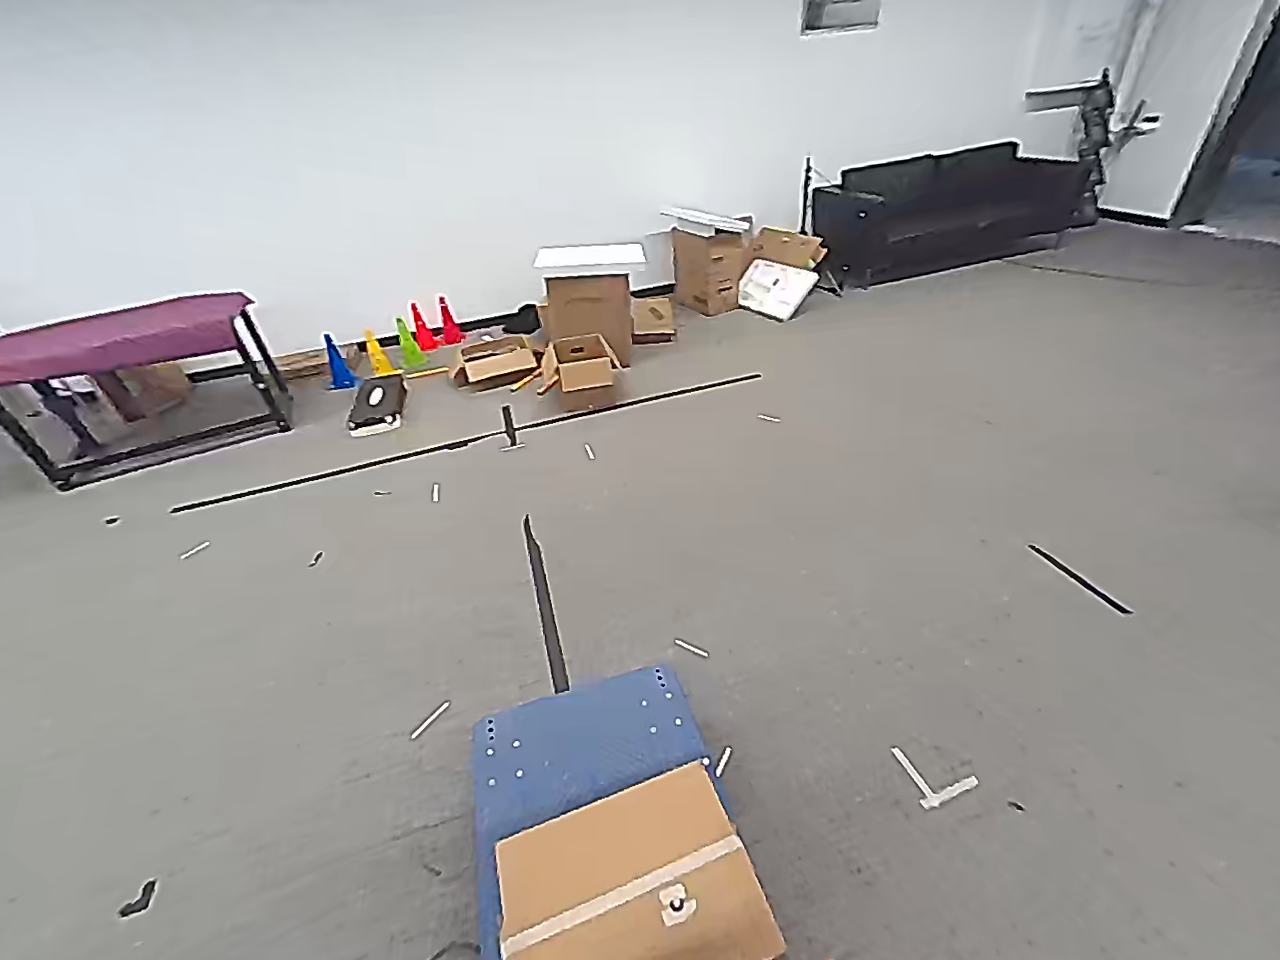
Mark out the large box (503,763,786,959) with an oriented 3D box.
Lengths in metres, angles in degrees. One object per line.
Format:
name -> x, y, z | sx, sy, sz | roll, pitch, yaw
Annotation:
large box -> 0.000, 0.806, 0.978 | 0.408, 0.320, 0.320 | -15, 36, -14
